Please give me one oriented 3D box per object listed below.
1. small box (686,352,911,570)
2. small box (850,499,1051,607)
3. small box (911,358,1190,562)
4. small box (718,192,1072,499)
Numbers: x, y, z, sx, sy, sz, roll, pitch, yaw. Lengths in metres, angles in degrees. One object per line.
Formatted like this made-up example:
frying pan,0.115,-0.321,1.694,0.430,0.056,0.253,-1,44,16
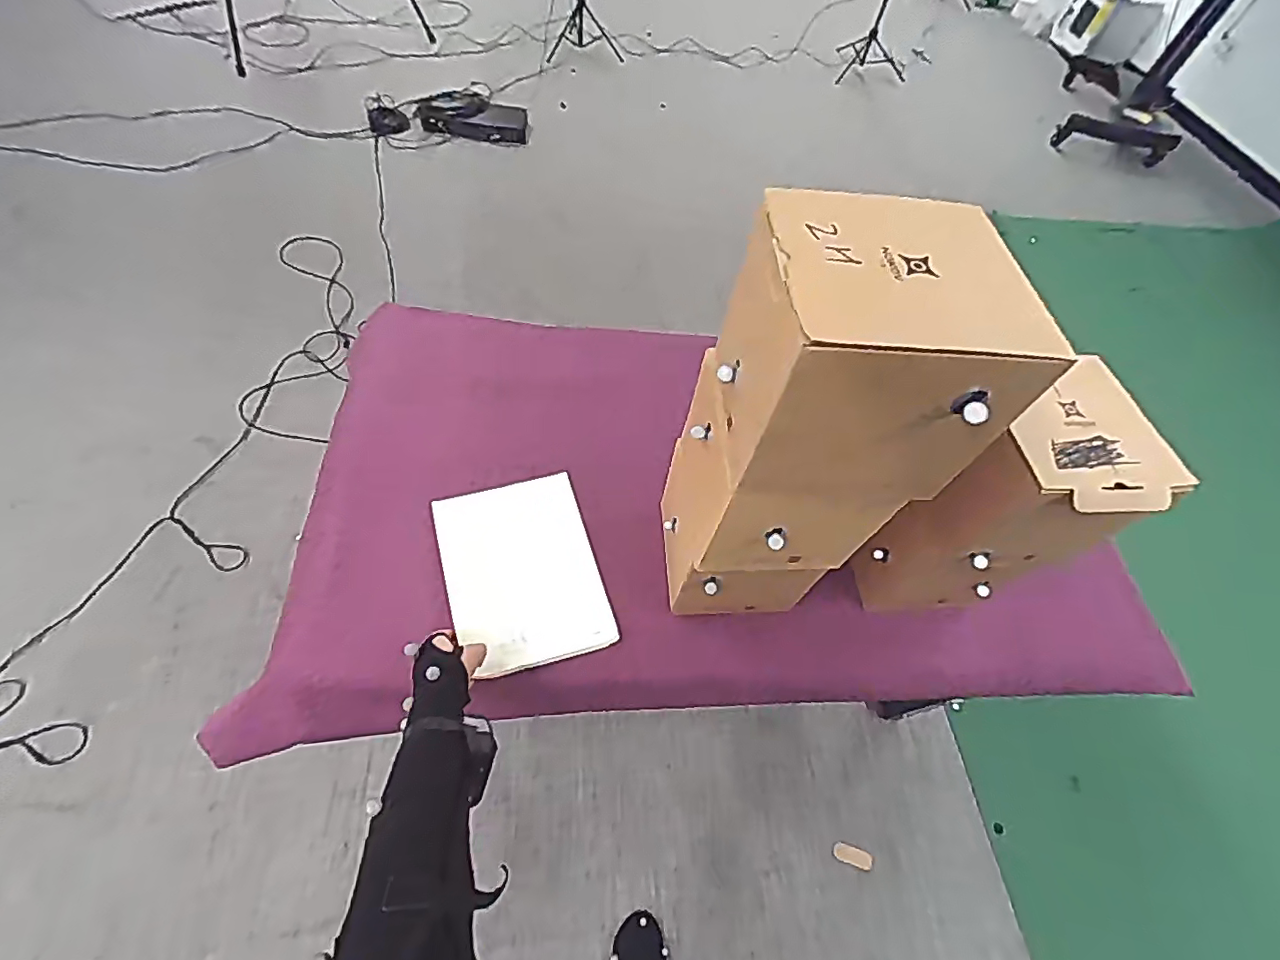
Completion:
small box,0.147,-0.013,0.572,0.168,0.176,0.179,0,57,-6
small box,0.399,0.068,0.744,0.168,0.176,0.179,1,57,-7
small box,0.420,-0.016,0.606,0.168,0.176,0.179,0,57,-8
small box,0.171,-0.096,0.431,0.179,0.176,0.168,2,56,-5
